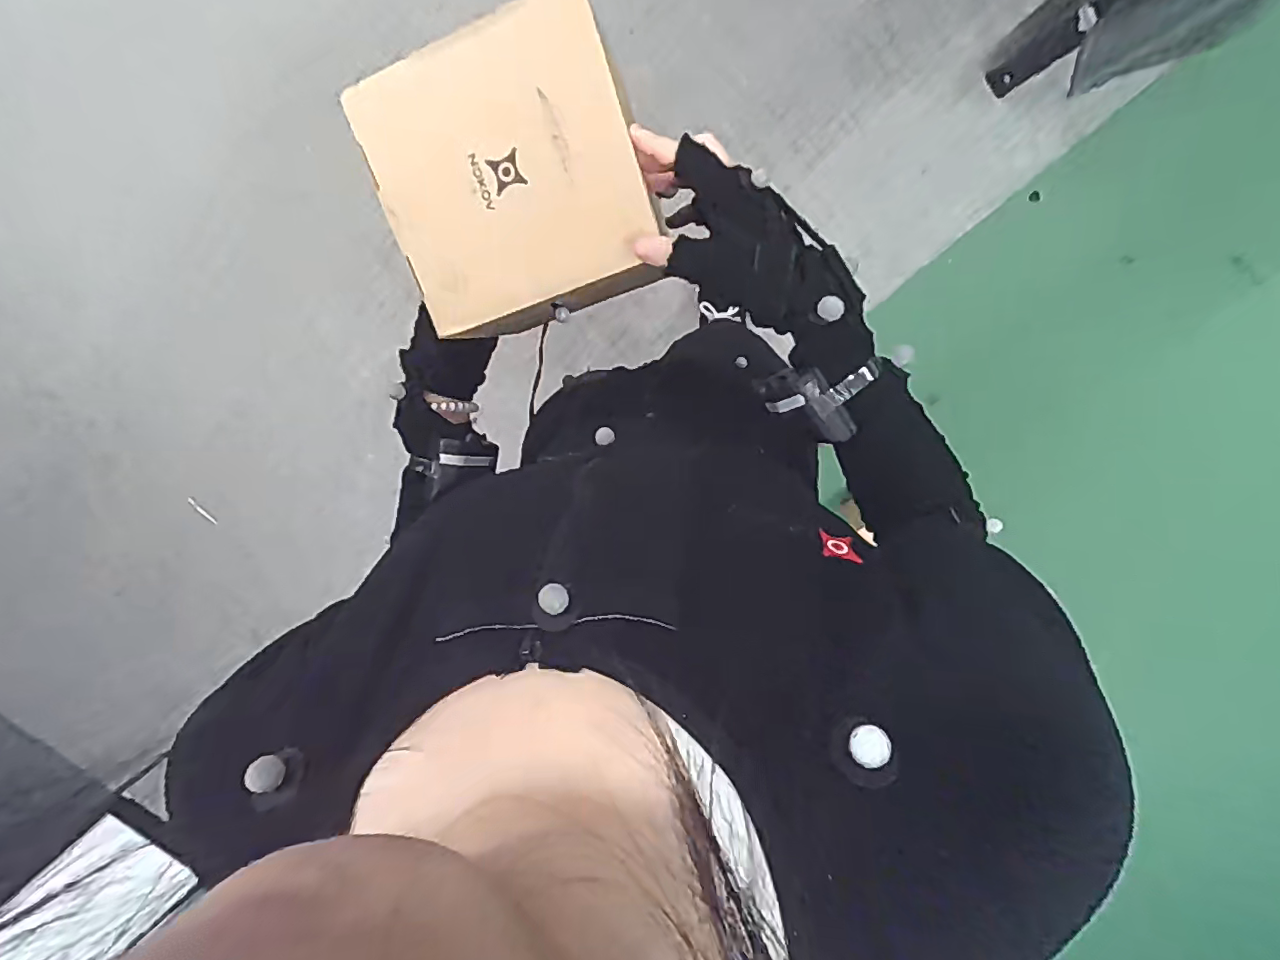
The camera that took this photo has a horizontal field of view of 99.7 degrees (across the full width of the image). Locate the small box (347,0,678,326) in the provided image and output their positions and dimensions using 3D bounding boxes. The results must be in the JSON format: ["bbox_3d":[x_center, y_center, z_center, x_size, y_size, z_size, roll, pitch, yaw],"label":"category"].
[{"bbox_3d":[-0.079,-0.227,0.432,0.179,0.176,0.168,-16,103,13],"label":"small box"}]

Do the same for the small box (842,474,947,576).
[{"bbox_3d":[0.653,0.113,1.418,0.179,0.176,0.168,-36,103,16],"label":"small box"}]
